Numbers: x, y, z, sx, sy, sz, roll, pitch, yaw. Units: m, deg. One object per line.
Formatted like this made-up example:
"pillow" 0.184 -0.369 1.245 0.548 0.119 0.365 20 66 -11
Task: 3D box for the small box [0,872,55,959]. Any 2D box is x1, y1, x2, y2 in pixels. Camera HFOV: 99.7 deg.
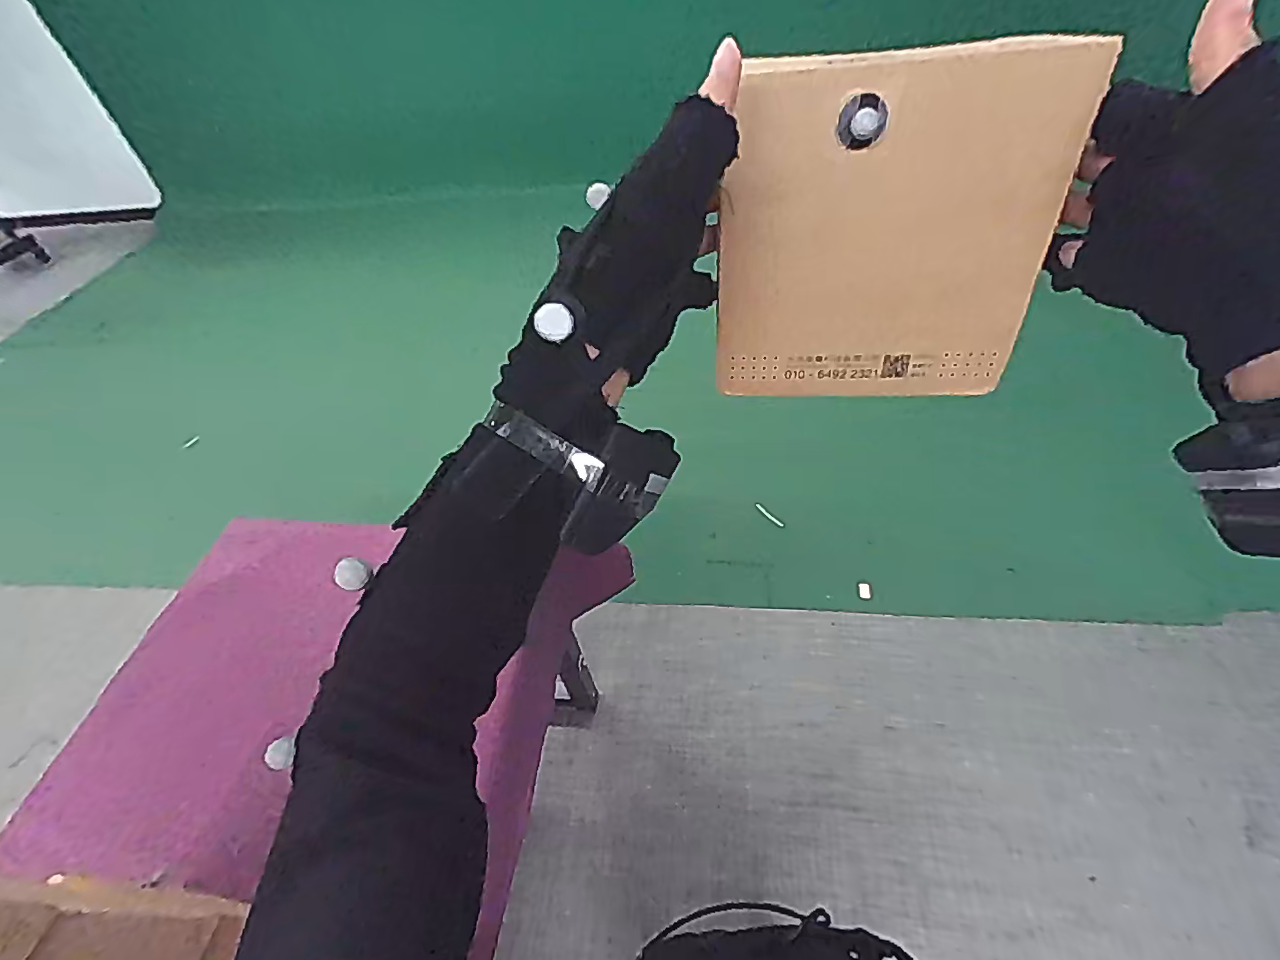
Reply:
"small box" -0.470 0.272 0.255 0.179 0.176 0.168 3 50 10

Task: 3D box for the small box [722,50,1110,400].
"small box" 0.141 -0.167 0.358 0.168 0.176 0.179 1 36 10

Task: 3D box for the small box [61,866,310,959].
"small box" -0.465 0.486 0.504 0.179 0.176 0.168 5 50 10

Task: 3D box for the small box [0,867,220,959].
"small box" -0.465 0.382 0.377 0.179 0.176 0.168 3 50 9
